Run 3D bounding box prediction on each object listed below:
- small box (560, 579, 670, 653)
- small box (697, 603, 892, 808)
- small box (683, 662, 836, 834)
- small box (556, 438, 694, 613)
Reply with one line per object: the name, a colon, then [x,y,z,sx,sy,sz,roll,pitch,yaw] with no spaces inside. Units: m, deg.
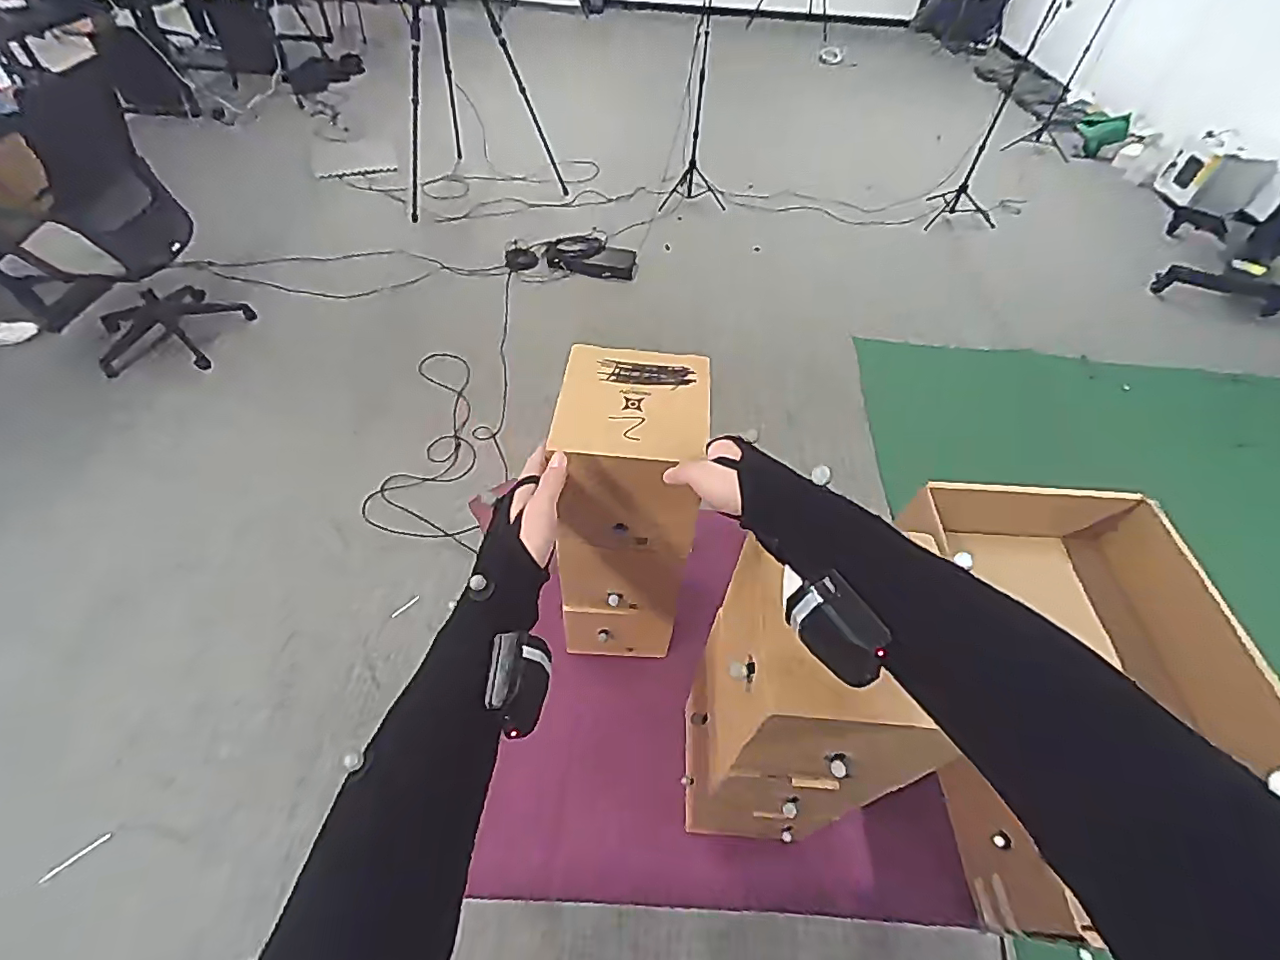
small box: [-0.034,0.174,0.897,0.168,0.176,0.179,3,50,-1]
small box: [0.159,0.263,0.621,0.168,0.176,0.179,5,50,0]
small box: [0.151,0.371,0.743,0.168,0.176,0.179,5,49,0]
small box: [-0.019,0.067,0.773,0.168,0.176,0.179,6,51,2]
